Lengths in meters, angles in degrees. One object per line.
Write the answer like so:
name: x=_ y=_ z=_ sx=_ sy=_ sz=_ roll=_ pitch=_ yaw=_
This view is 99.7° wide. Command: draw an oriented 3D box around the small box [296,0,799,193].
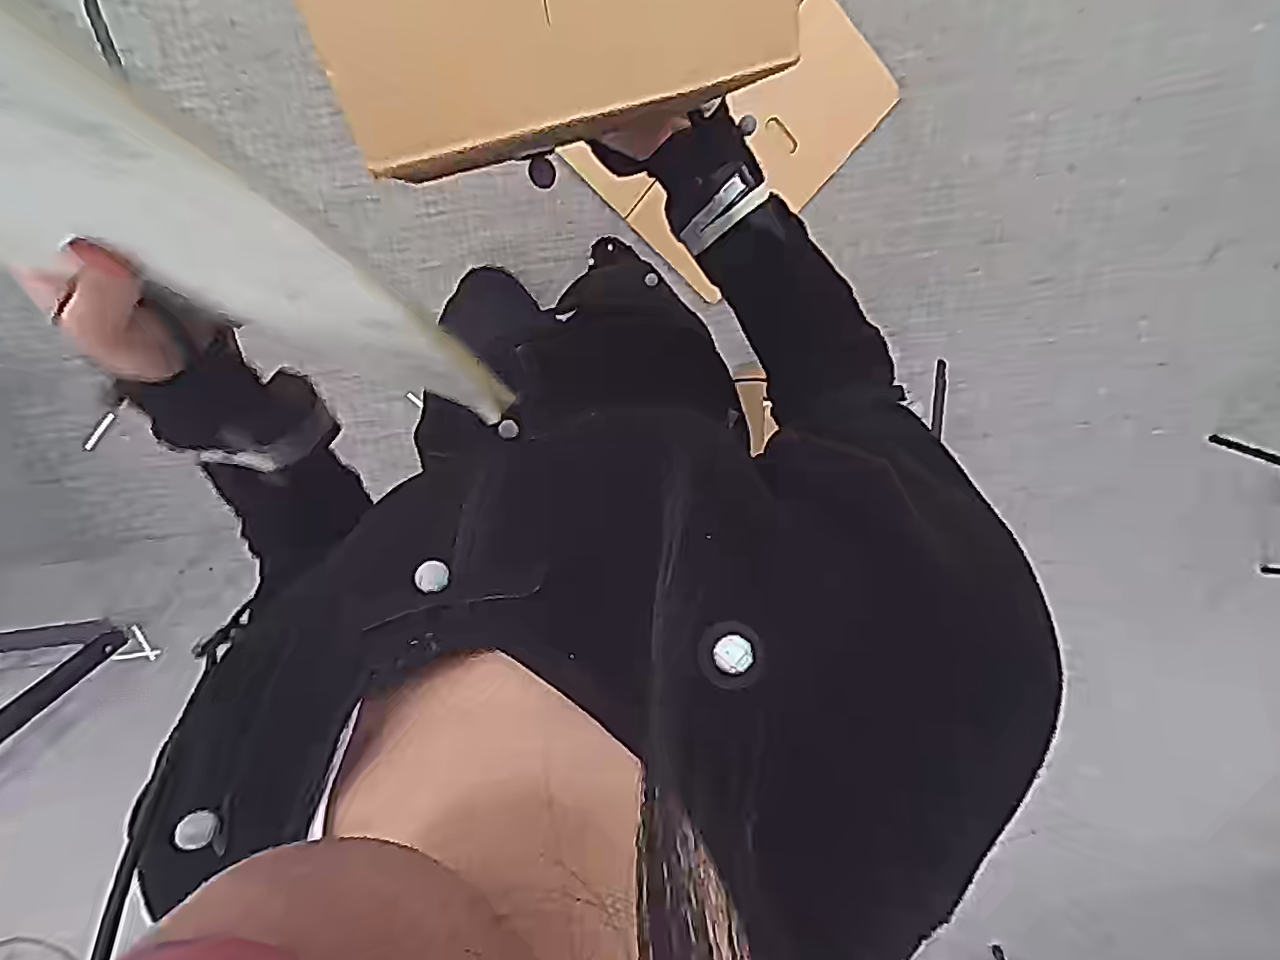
small box: x=-0.055 y=-0.233 z=0.224 sx=0.168 sy=0.176 sz=0.179 roll=-19 pitch=121 yaw=-5
